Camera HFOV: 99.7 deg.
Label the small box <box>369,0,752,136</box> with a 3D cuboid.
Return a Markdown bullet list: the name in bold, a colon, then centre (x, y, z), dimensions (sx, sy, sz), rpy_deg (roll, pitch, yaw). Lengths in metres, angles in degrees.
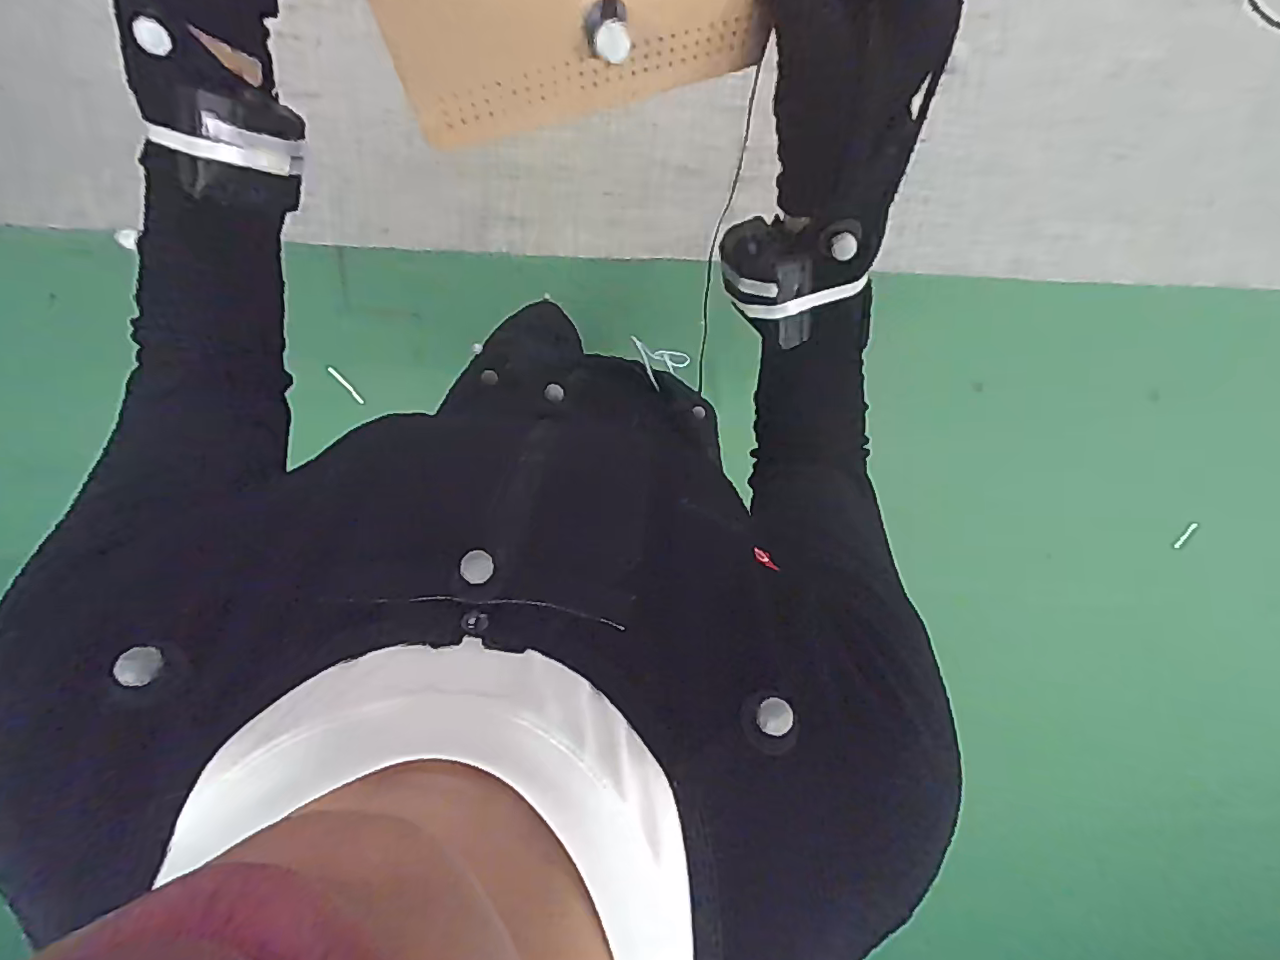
- **small box**: centre (-0.044, -0.281, 0.210), dimensions (0.179, 0.176, 0.168), rpy_deg (-20, 78, -8)
